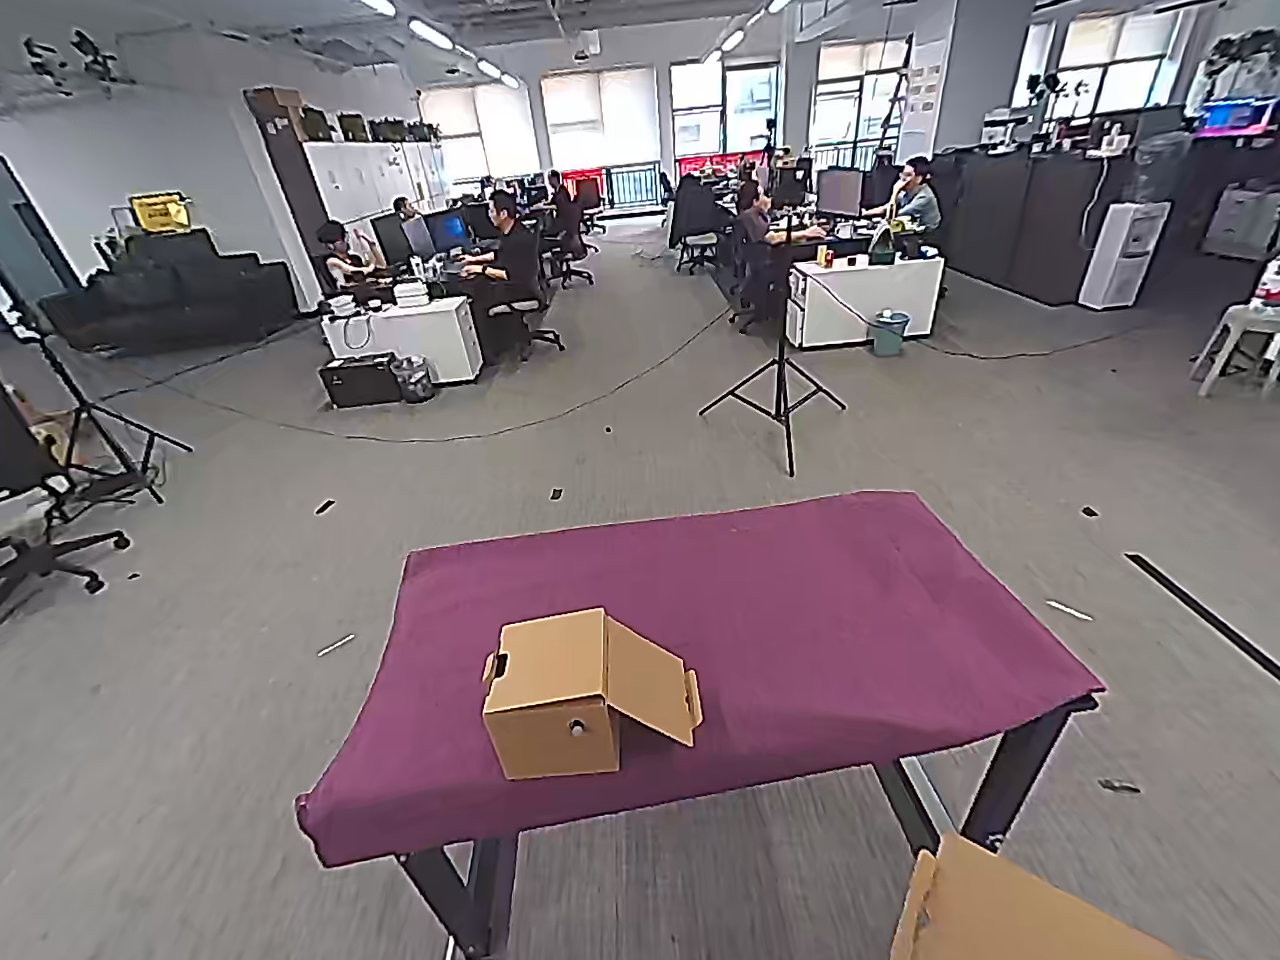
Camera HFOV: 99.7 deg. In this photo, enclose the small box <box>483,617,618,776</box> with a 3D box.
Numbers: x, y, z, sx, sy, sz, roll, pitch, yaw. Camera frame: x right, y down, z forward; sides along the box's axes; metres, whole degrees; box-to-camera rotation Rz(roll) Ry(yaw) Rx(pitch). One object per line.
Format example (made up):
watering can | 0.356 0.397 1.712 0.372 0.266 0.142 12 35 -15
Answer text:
small box | -0.128 0.343 0.860 0.179 0.176 0.168 -6 31 1
